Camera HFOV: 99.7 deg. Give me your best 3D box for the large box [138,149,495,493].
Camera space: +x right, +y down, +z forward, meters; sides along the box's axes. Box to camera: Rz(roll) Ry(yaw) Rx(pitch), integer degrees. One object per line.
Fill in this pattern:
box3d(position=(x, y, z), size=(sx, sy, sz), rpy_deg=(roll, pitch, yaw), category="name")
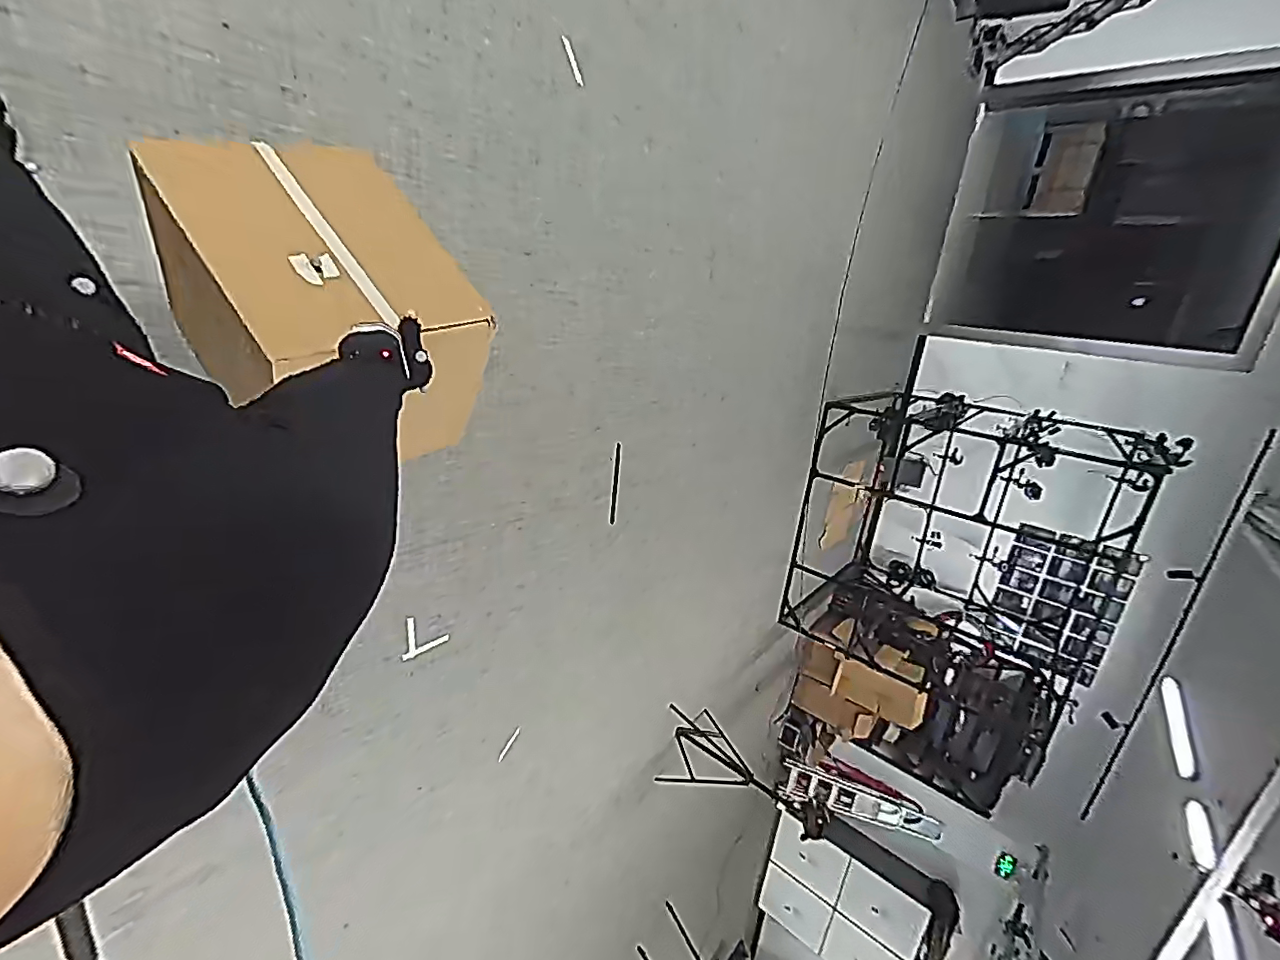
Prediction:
box3d(position=(-0.513, -0.257, 0.883), size=(0.320, 0.408, 0.320), rpy_deg=(-28, 165, -42), category="large box")
